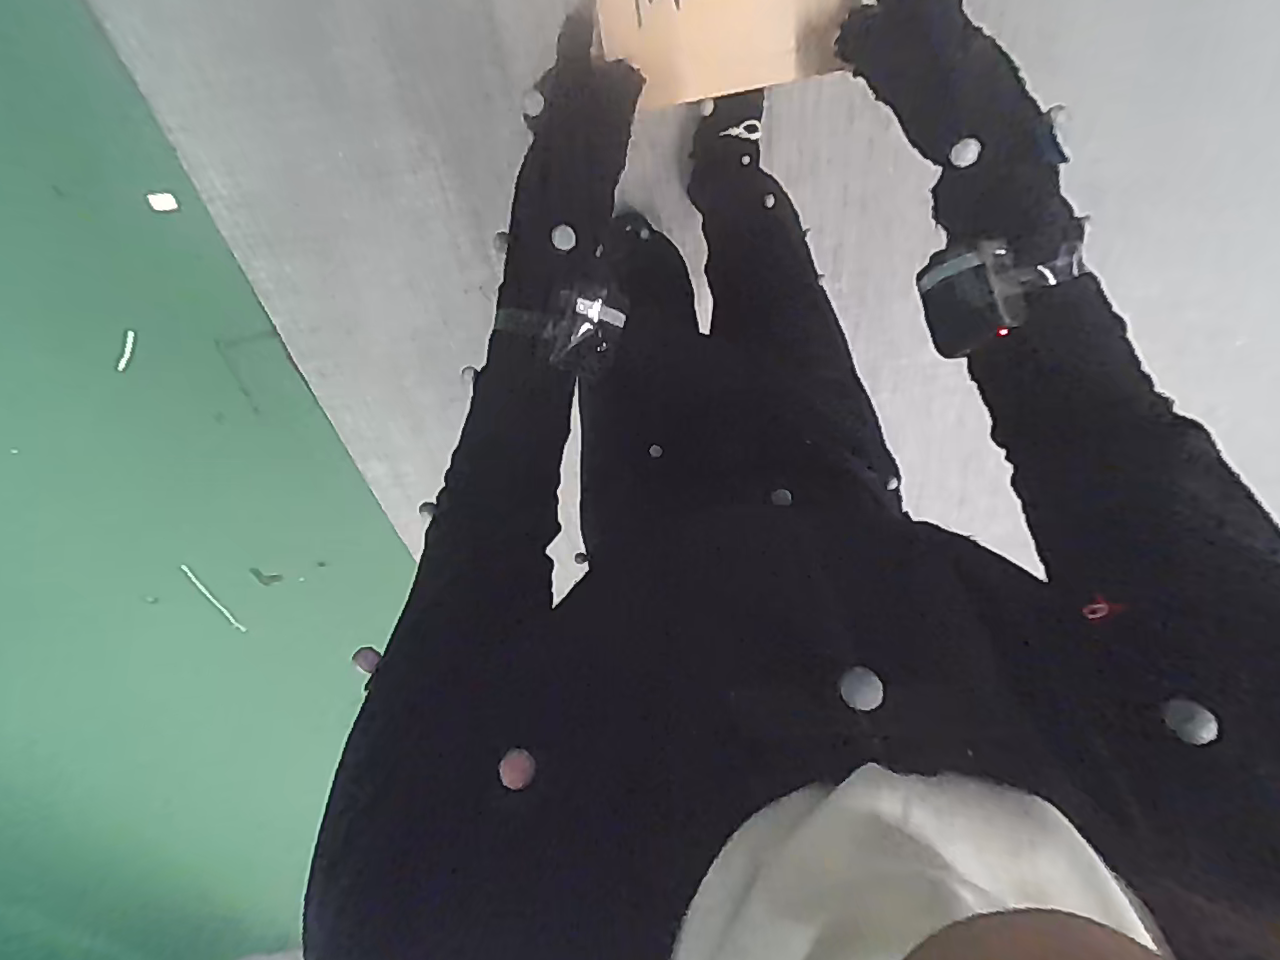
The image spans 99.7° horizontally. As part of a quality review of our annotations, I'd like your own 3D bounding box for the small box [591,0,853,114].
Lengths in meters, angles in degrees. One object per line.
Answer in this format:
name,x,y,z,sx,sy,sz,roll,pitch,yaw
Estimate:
small box,0.048,-0.390,0.407,0.179,0.176,0.168,-10,127,2
